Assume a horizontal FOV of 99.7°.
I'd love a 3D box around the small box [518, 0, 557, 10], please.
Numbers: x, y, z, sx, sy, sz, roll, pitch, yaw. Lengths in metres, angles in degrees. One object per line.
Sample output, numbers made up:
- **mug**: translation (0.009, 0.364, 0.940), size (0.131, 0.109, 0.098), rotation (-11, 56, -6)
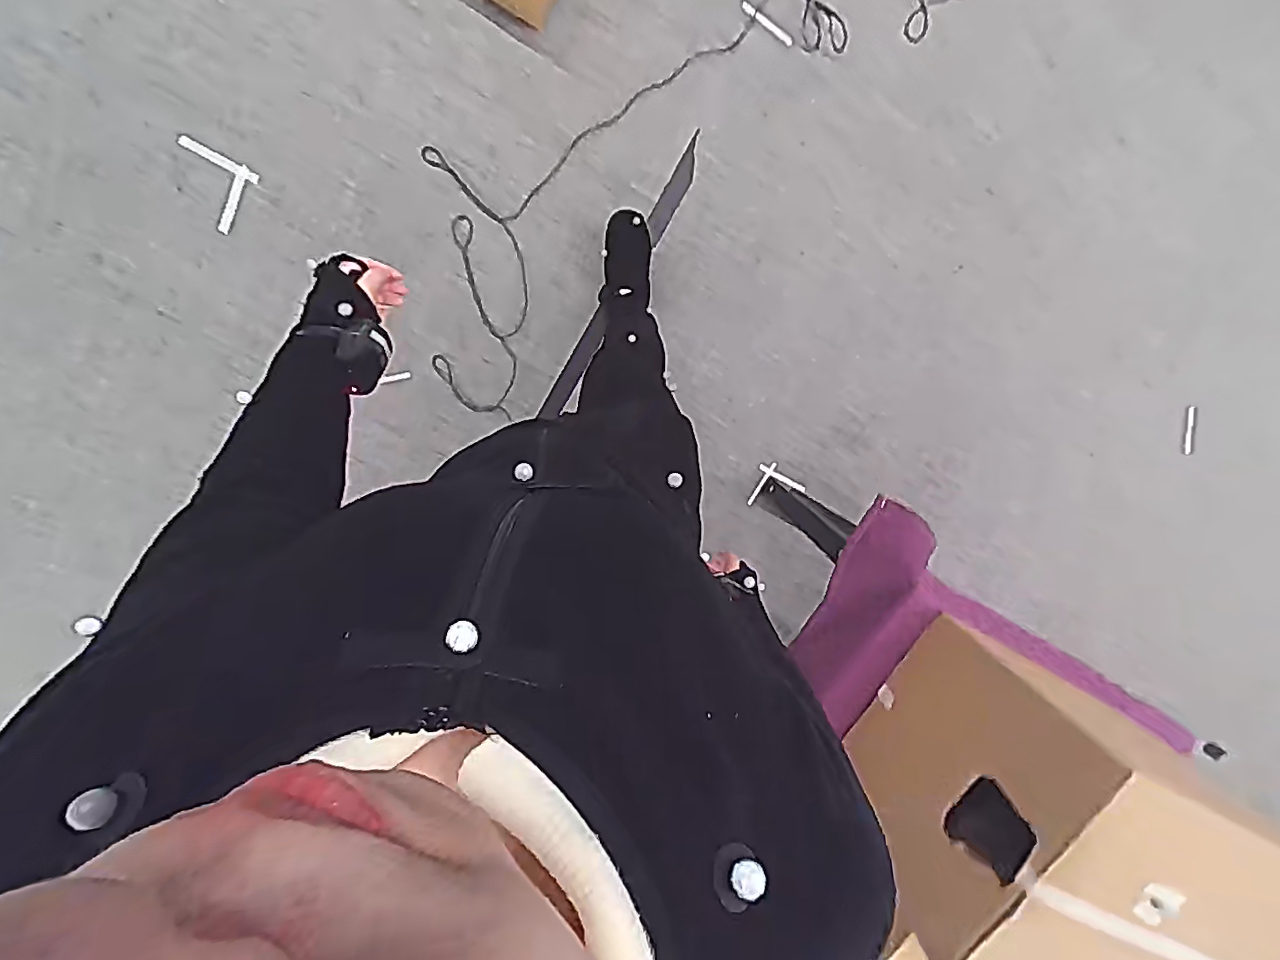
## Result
- **small box**: translation (-0.231, -1.083, 1.048), size (0.179, 0.176, 0.168), rotation (25, 83, 8)
